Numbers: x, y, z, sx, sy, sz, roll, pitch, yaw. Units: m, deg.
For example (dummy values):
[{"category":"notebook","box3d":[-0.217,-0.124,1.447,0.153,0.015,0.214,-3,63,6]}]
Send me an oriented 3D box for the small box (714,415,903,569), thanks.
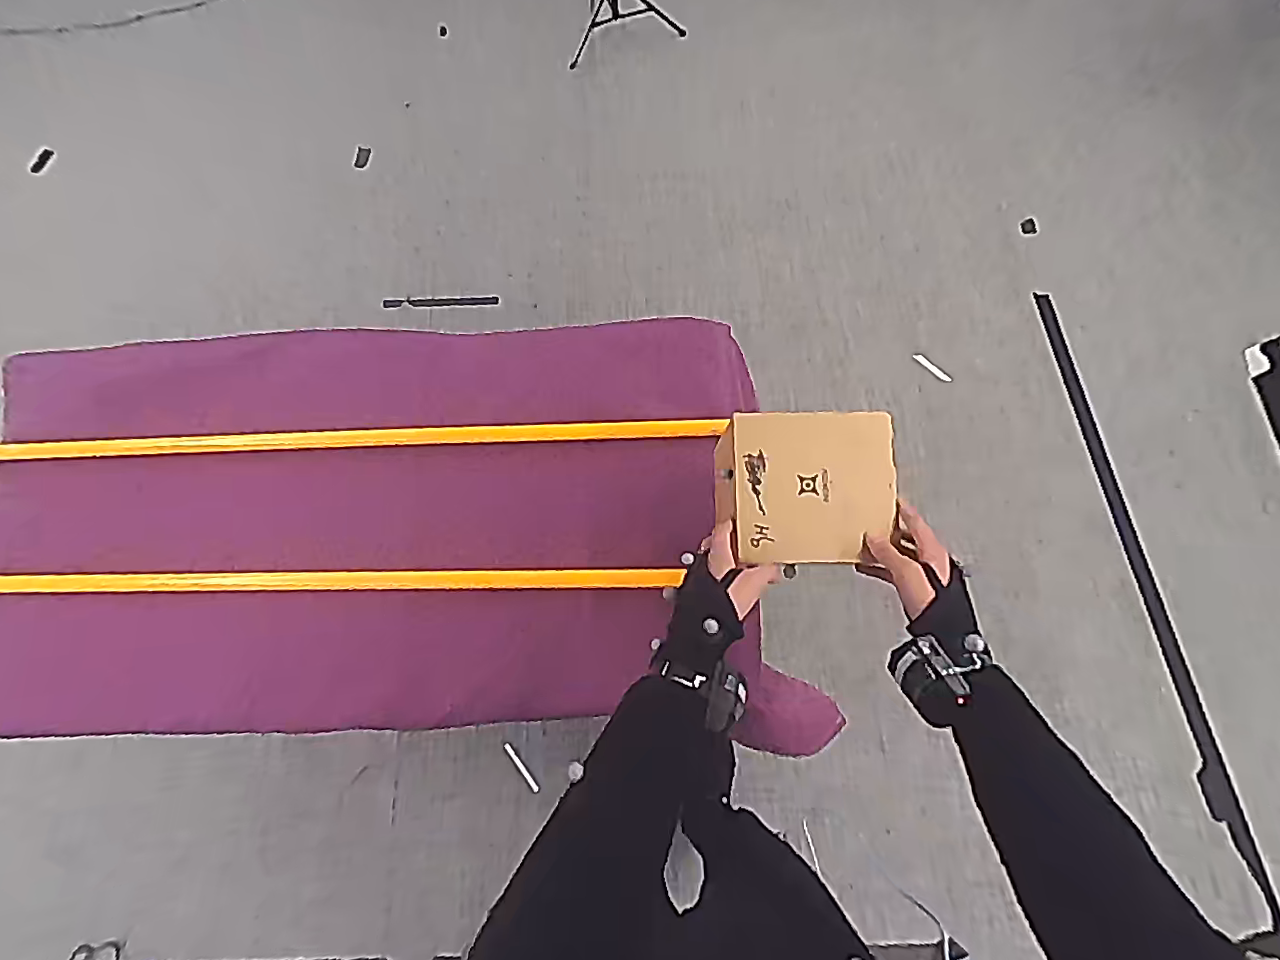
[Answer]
[{"category":"small box","box3d":[0.190,0.023,0.657,0.179,0.176,0.168,0,80,0]}]
